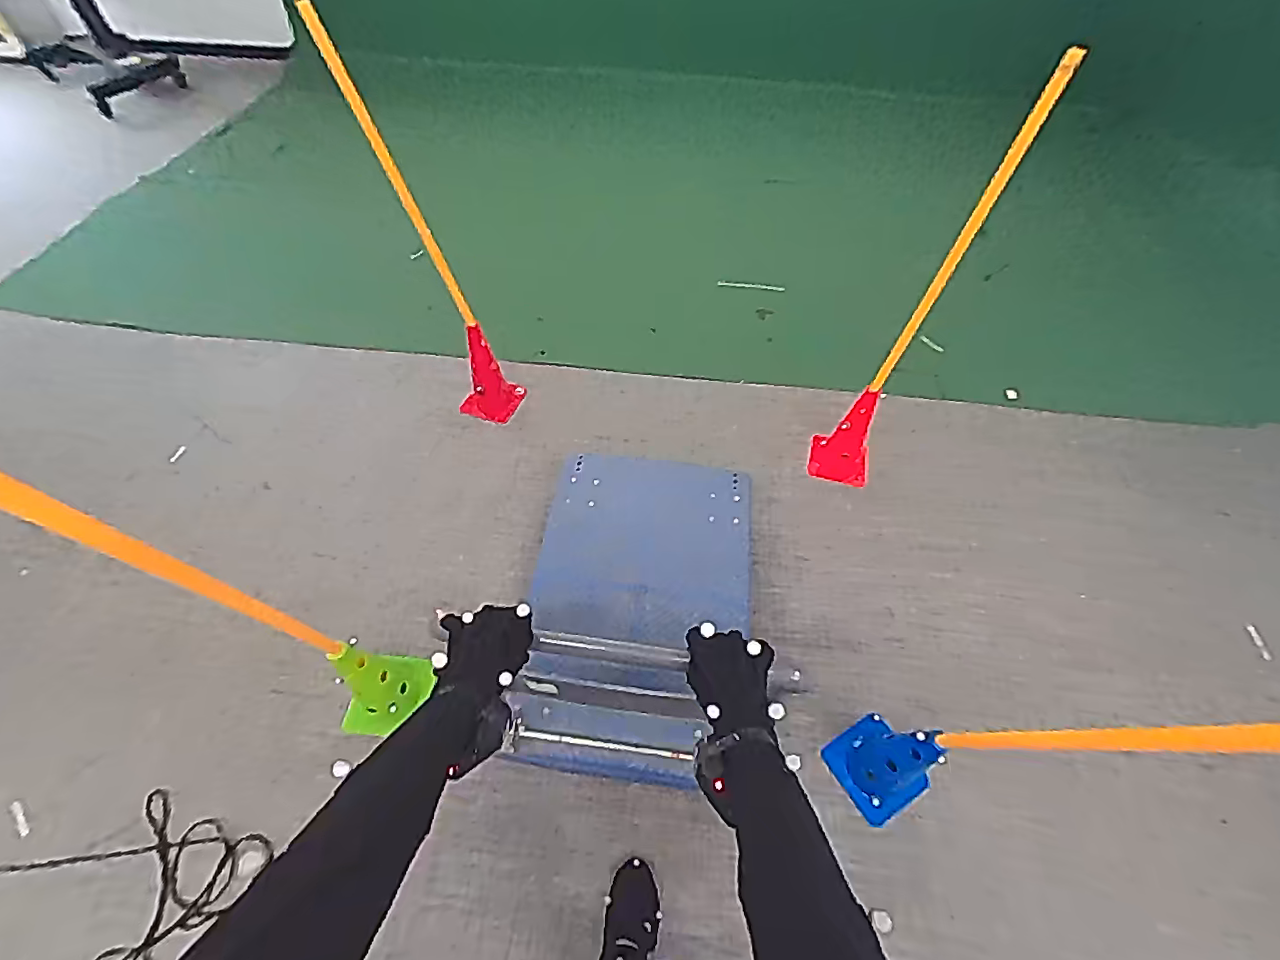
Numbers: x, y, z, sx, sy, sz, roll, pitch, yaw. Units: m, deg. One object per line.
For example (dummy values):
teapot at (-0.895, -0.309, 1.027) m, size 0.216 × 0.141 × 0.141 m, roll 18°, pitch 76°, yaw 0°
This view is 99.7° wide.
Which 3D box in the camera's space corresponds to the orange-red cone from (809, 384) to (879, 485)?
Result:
orange-red cone at (0.708, -0.174, 1.781) m, size 0.198 × 0.360 × 0.199 m, roll 15°, pitch 56°, yaw 10°
